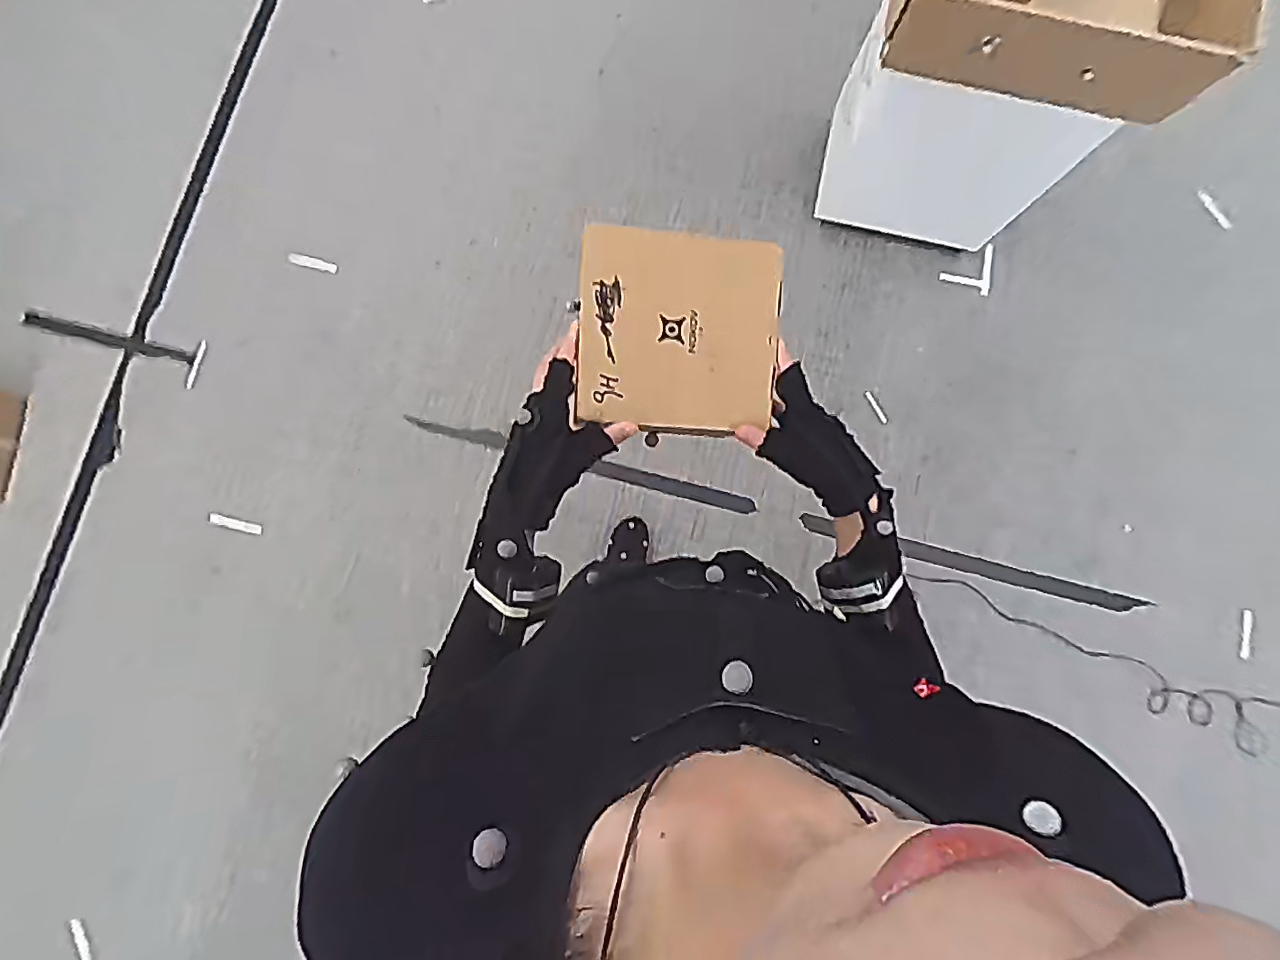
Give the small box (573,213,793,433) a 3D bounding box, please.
[{"bbox_3d":[0.029,-0.136,0.538,0.179,0.176,0.168,4,92,-9],"label":"small box"}]
